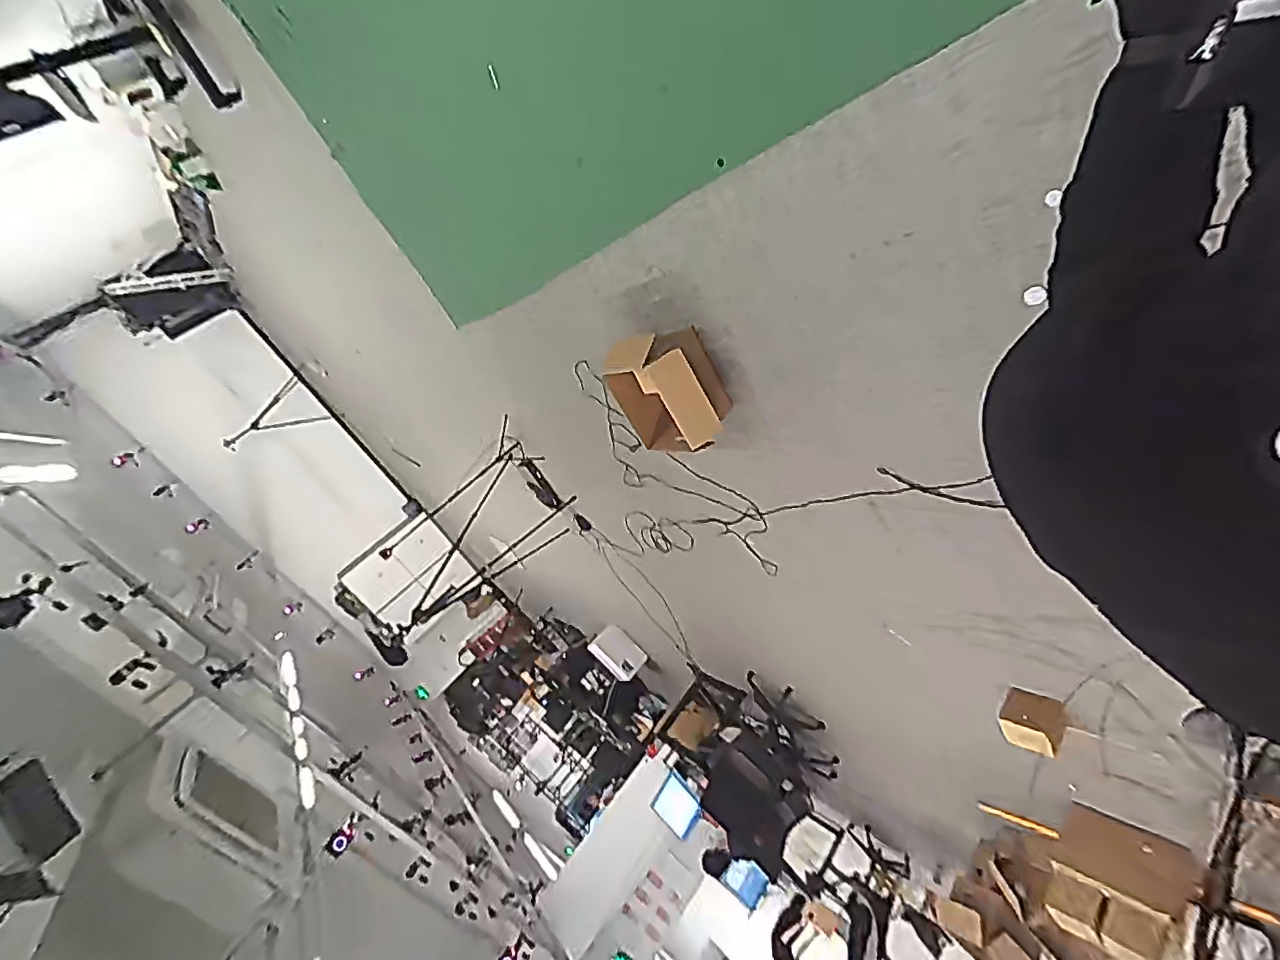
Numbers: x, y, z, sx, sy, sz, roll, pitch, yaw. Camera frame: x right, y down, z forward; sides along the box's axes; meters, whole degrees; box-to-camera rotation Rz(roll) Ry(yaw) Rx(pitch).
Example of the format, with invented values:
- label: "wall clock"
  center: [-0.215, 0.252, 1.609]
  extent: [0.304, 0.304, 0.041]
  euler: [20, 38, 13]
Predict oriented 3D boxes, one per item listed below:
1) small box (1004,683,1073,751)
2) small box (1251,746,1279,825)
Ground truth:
- label: "small box"
  center: [1.658, 0.977, 2.247]
  extent: [0.179, 0.176, 0.168]
  euler: [0, 130, 55]
- label: "small box"
  center: [2.040, 0.971, 1.677]
  extent: [0.168, 0.176, 0.179]
  euler: [1, 131, 55]
